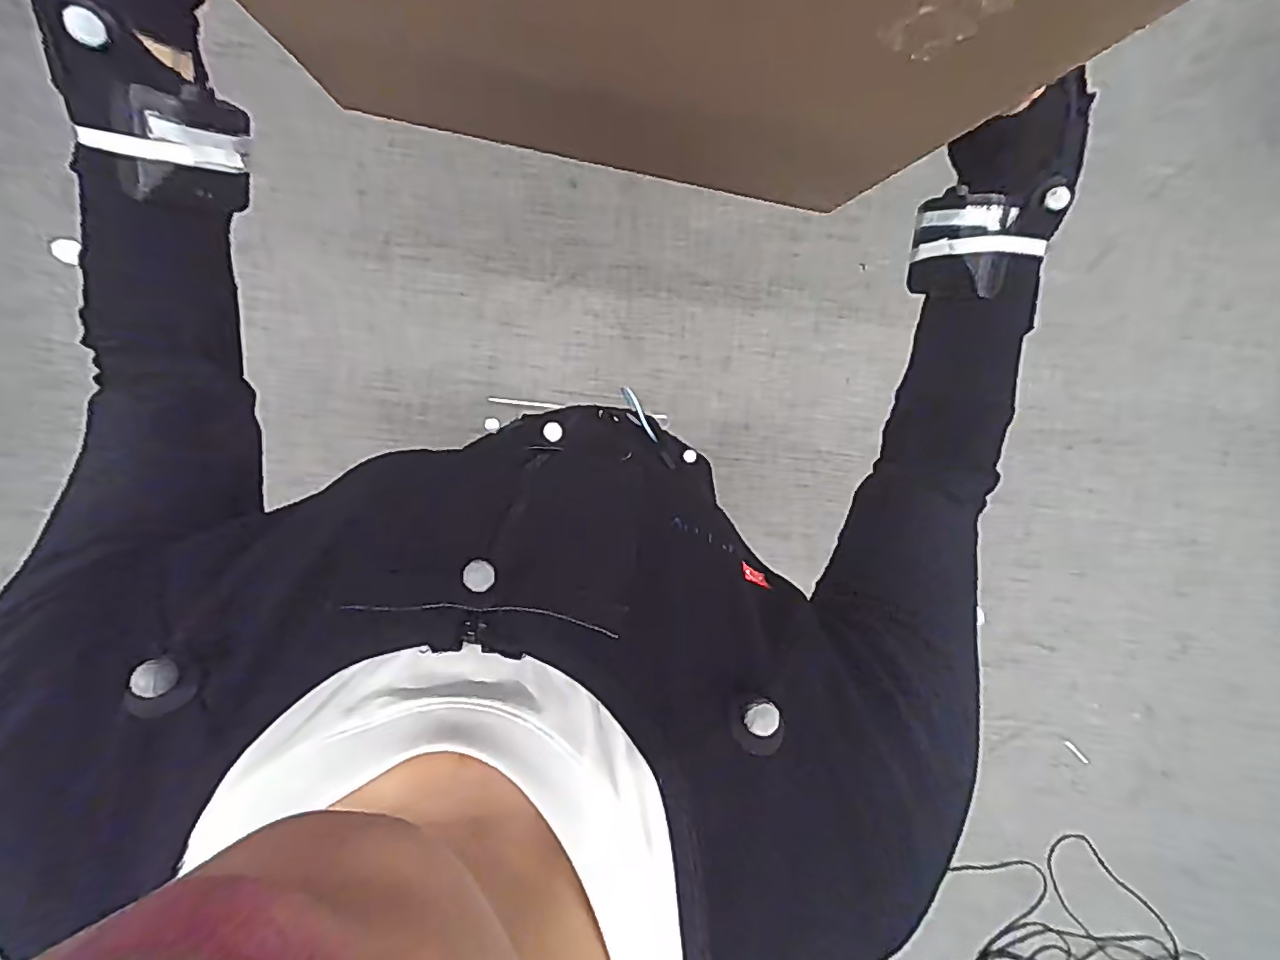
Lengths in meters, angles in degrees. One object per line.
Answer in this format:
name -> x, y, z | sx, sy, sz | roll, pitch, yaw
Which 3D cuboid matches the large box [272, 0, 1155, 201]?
large box -> 0.014, -0.376, 0.264 | 0.408, 0.320, 0.320 | 9, 103, -8
